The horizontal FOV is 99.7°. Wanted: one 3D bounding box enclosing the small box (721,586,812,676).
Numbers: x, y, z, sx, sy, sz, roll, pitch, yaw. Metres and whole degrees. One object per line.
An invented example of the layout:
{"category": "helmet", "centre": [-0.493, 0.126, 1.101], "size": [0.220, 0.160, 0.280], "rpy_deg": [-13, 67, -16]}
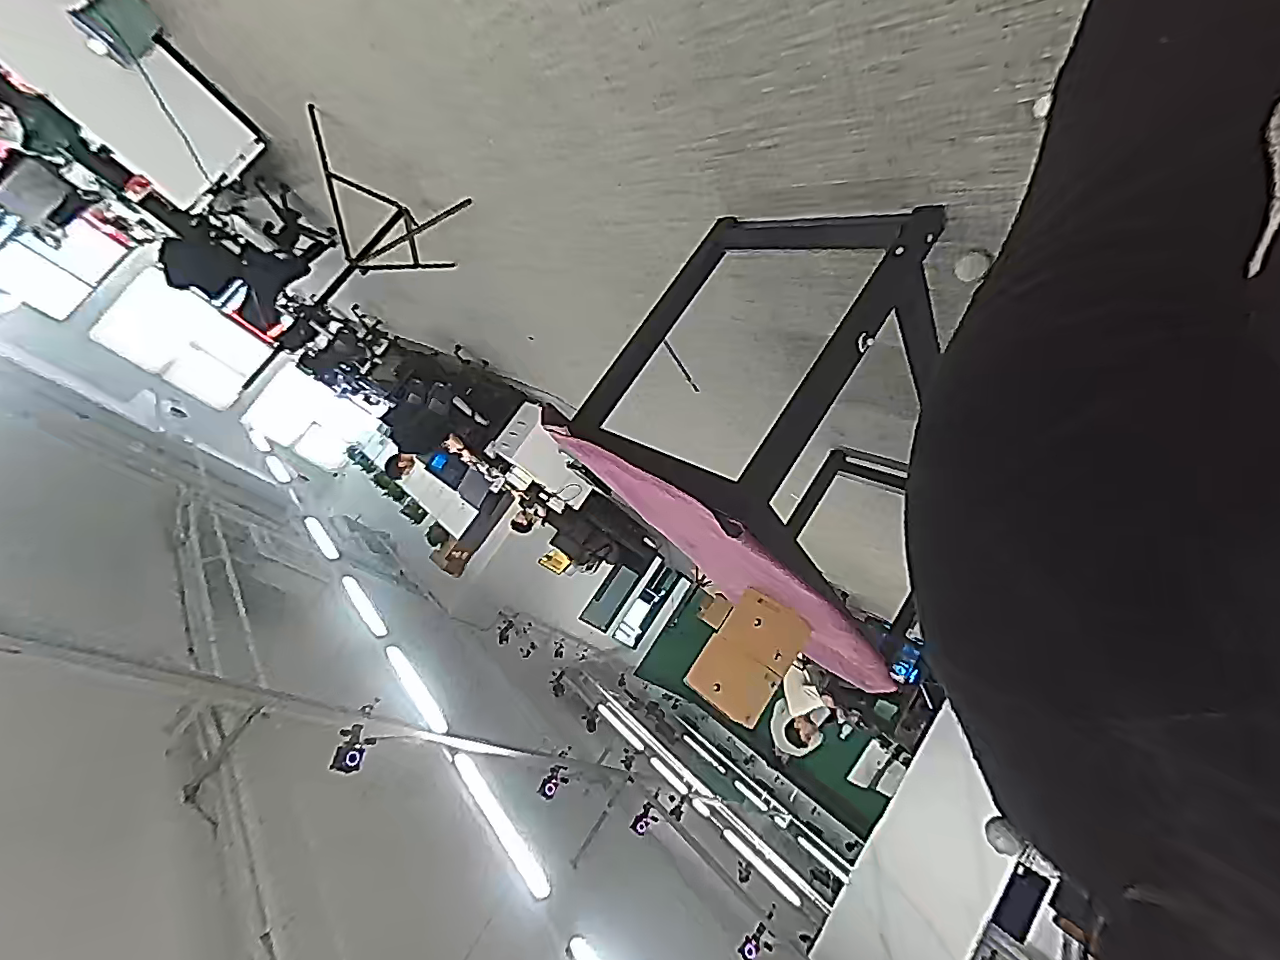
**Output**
{"category": "small box", "centre": [0.370, 0.432, 1.566], "size": [0.168, 0.176, 0.179], "rpy_deg": [26, 168, 43]}

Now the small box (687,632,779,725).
{"category": "small box", "centre": [0.273, 0.563, 1.544], "size": [0.179, 0.176, 0.168], "rpy_deg": [26, 167, 45]}
